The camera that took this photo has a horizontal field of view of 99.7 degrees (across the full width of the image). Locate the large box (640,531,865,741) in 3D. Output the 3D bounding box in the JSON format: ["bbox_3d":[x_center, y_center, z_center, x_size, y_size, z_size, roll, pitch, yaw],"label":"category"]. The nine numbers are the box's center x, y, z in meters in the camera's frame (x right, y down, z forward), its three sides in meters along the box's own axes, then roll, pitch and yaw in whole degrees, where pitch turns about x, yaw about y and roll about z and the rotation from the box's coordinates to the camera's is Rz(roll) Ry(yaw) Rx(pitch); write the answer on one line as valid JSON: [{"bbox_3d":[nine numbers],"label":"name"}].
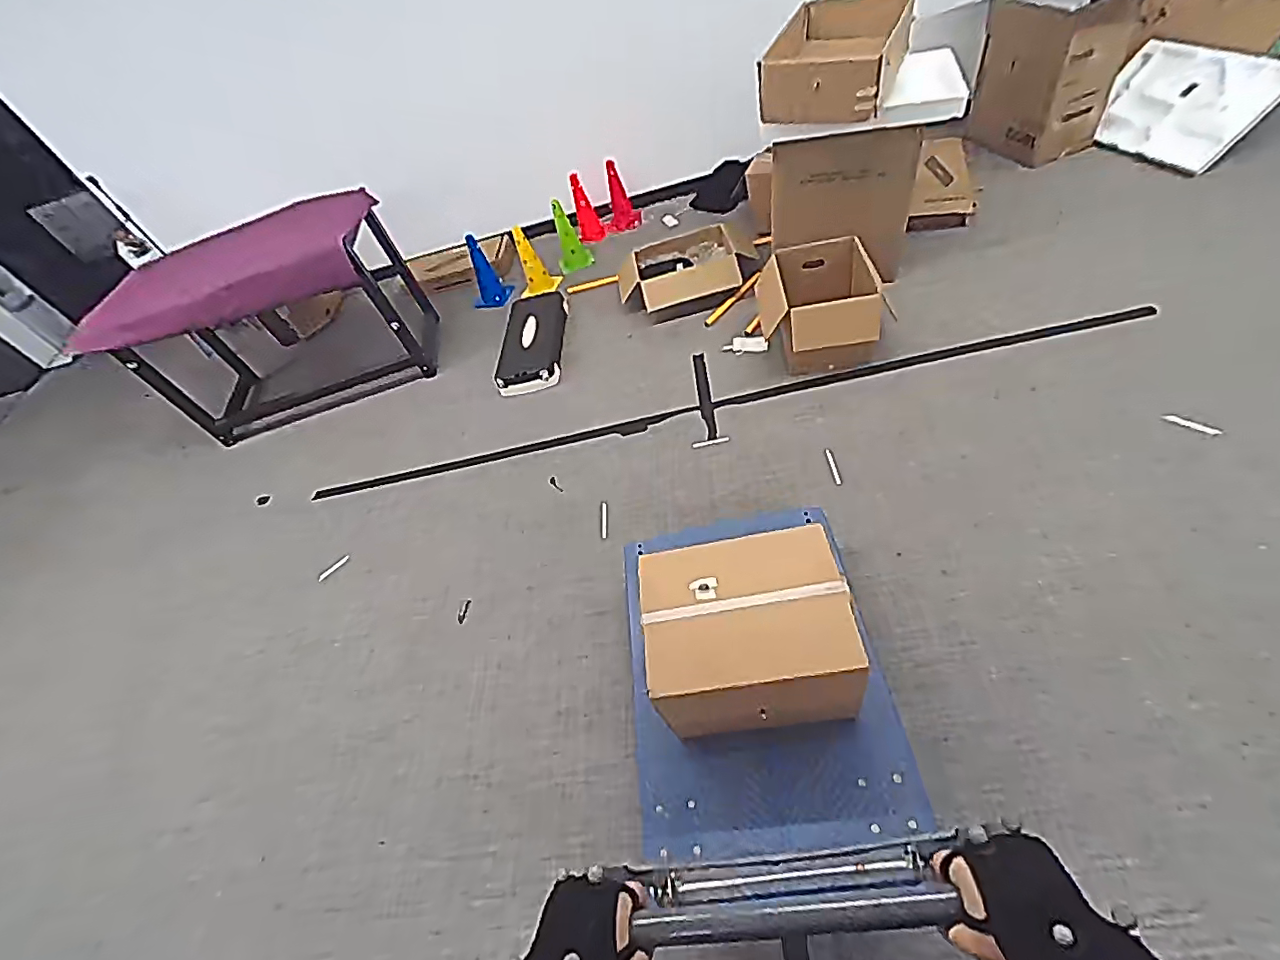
[{"bbox_3d":[0.239,0.357,1.198,0.408,0.320,0.320,-12,49,9],"label":"large box"}]
